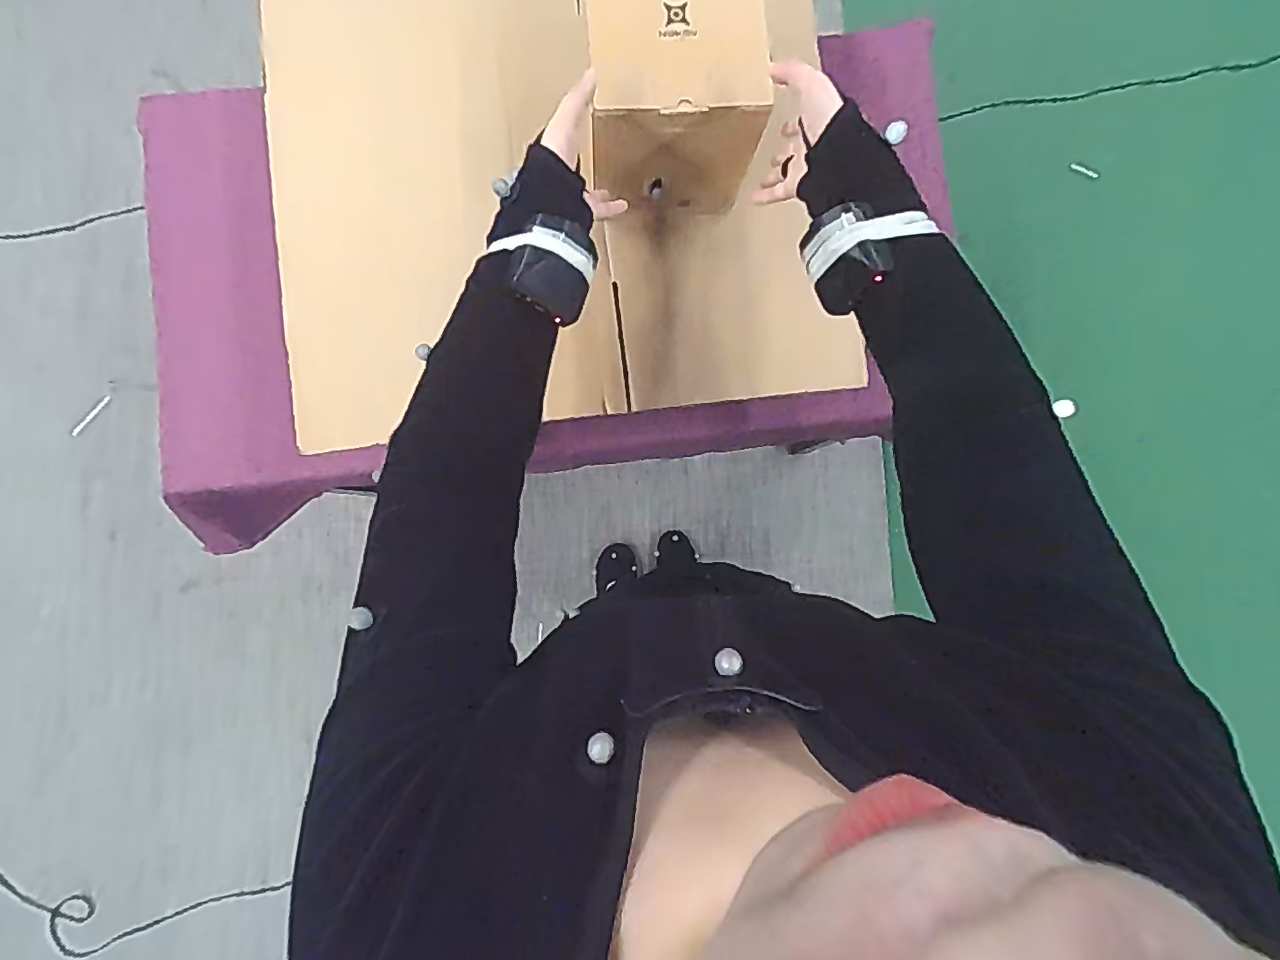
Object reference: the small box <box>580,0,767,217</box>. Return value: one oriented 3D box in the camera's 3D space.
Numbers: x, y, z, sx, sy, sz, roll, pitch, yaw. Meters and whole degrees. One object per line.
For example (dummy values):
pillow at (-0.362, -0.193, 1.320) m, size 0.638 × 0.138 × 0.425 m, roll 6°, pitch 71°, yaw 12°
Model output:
small box at (0.023, -0.409, 0.574) m, size 0.168 × 0.176 × 0.179 m, roll -5°, pitch 87°, yaw -4°
